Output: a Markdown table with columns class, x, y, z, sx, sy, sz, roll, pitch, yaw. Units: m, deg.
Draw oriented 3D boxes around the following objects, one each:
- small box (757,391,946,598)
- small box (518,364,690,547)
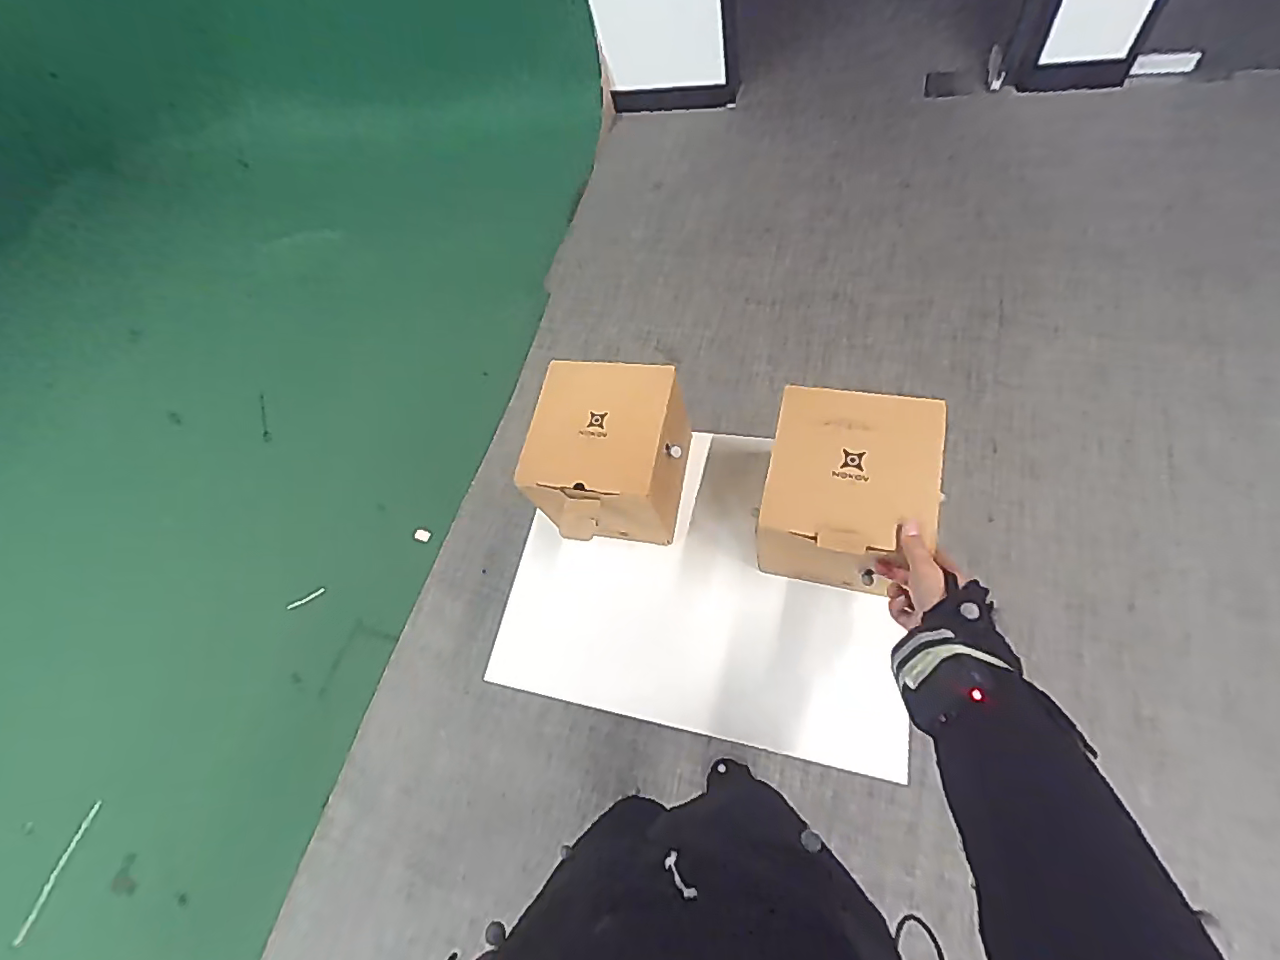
| class | x | y | z | sx | sy | sz | roll | pitch | yaw |
| --- | --- | --- | --- | --- | --- | --- | --- | --- | --- |
| small box | 0.234 | 0.023 | 0.620 | 0.168 | 0.176 | 0.179 | 9 | 67 | 17 |
| small box | -0.033 | -0.028 | 0.708 | 0.168 | 0.176 | 0.179 | 6 | 68 | 15 |
